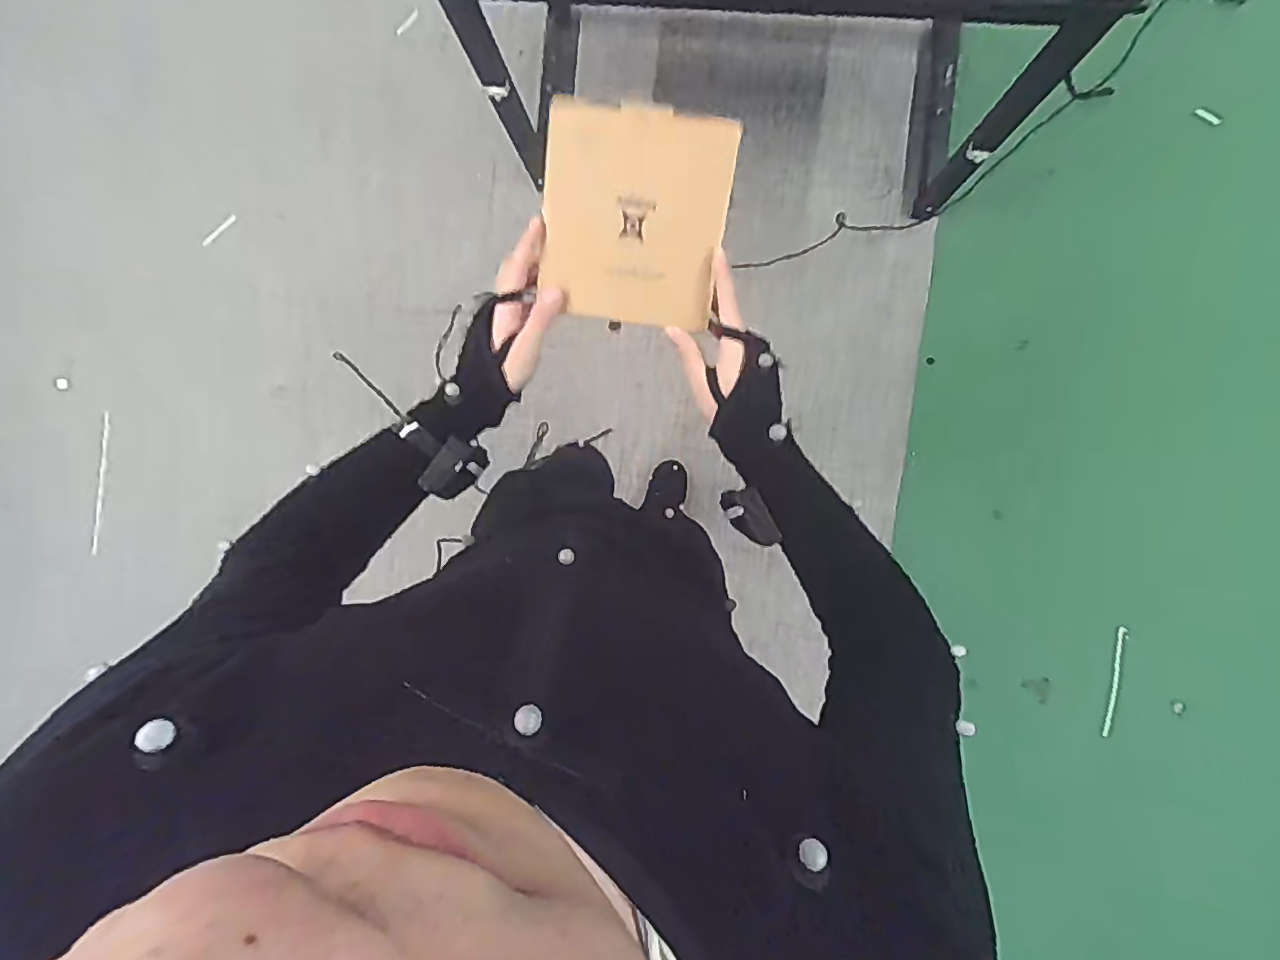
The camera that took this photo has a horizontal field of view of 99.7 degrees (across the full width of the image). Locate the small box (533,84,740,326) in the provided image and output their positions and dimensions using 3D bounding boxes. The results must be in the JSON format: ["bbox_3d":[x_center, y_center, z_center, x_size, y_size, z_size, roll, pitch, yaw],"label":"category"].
[{"bbox_3d":[-0.004,-0.263,0.552,0.168,0.176,0.179,9,110,1],"label":"small box"}]
